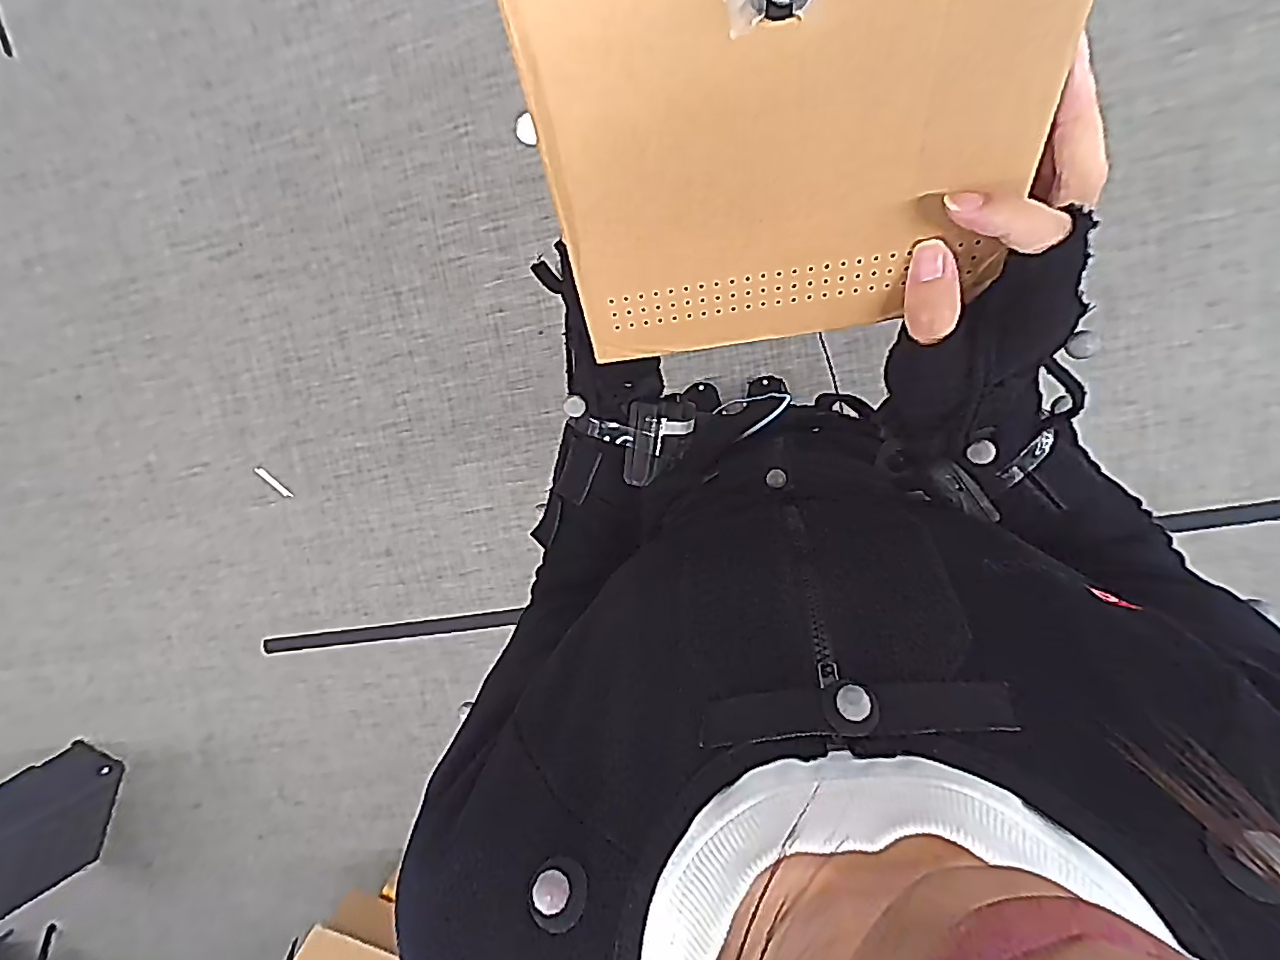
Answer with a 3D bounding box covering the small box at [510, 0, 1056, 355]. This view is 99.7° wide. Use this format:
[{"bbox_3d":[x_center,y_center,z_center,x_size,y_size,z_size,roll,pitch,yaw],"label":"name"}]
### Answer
[{"bbox_3d":[0.053,-0.174,0.244,0.179,0.168,0.176,-6,138,7],"label":"small box"}]
